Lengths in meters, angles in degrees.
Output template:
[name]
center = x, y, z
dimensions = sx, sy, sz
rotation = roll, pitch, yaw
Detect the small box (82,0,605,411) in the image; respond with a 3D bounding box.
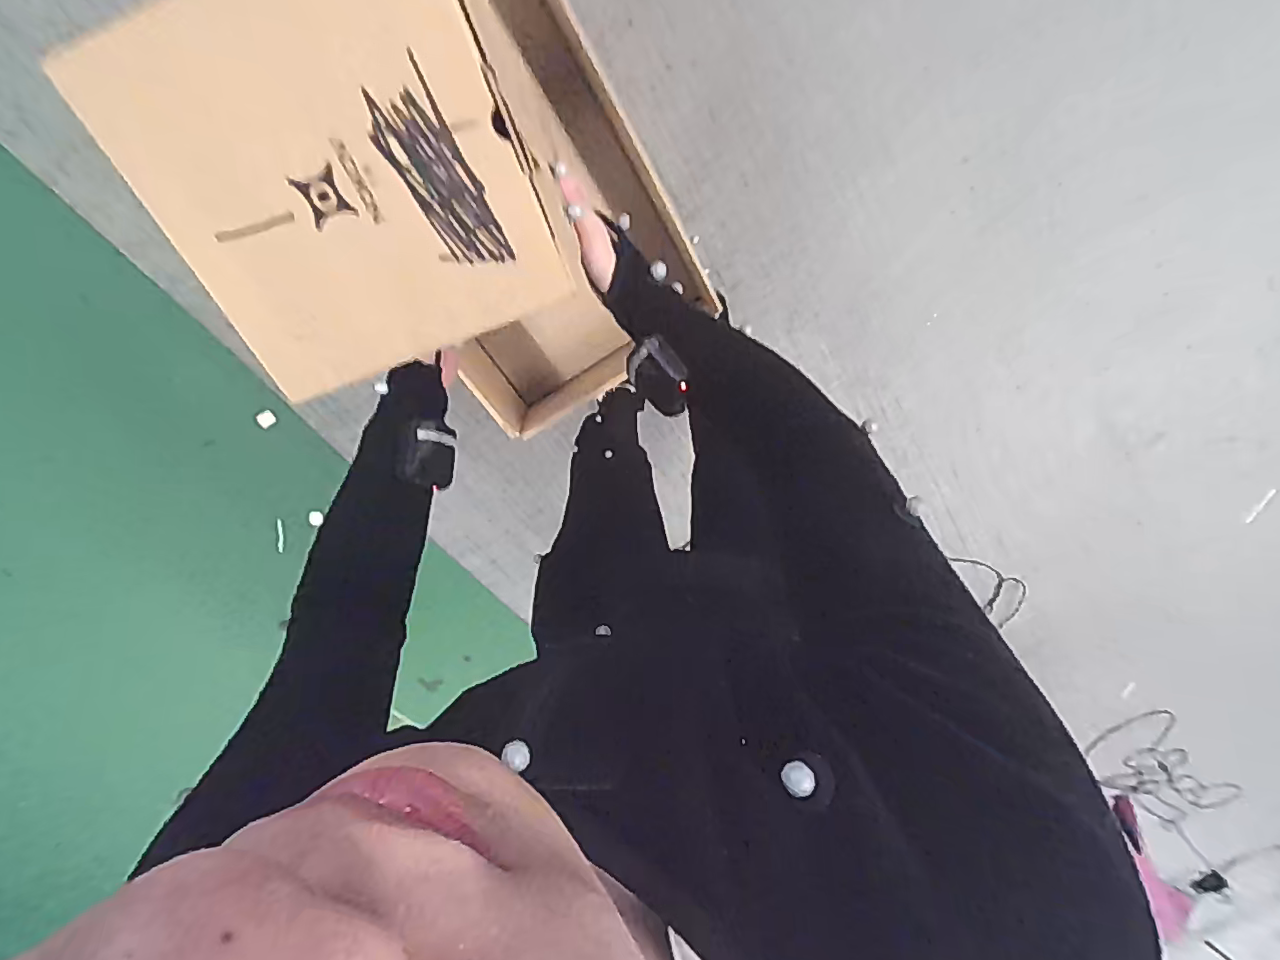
[small box]
center = -0.133, -0.170, 0.323
dimensions = 0.179, 0.176, 0.168
rotation = -19, 120, 5
